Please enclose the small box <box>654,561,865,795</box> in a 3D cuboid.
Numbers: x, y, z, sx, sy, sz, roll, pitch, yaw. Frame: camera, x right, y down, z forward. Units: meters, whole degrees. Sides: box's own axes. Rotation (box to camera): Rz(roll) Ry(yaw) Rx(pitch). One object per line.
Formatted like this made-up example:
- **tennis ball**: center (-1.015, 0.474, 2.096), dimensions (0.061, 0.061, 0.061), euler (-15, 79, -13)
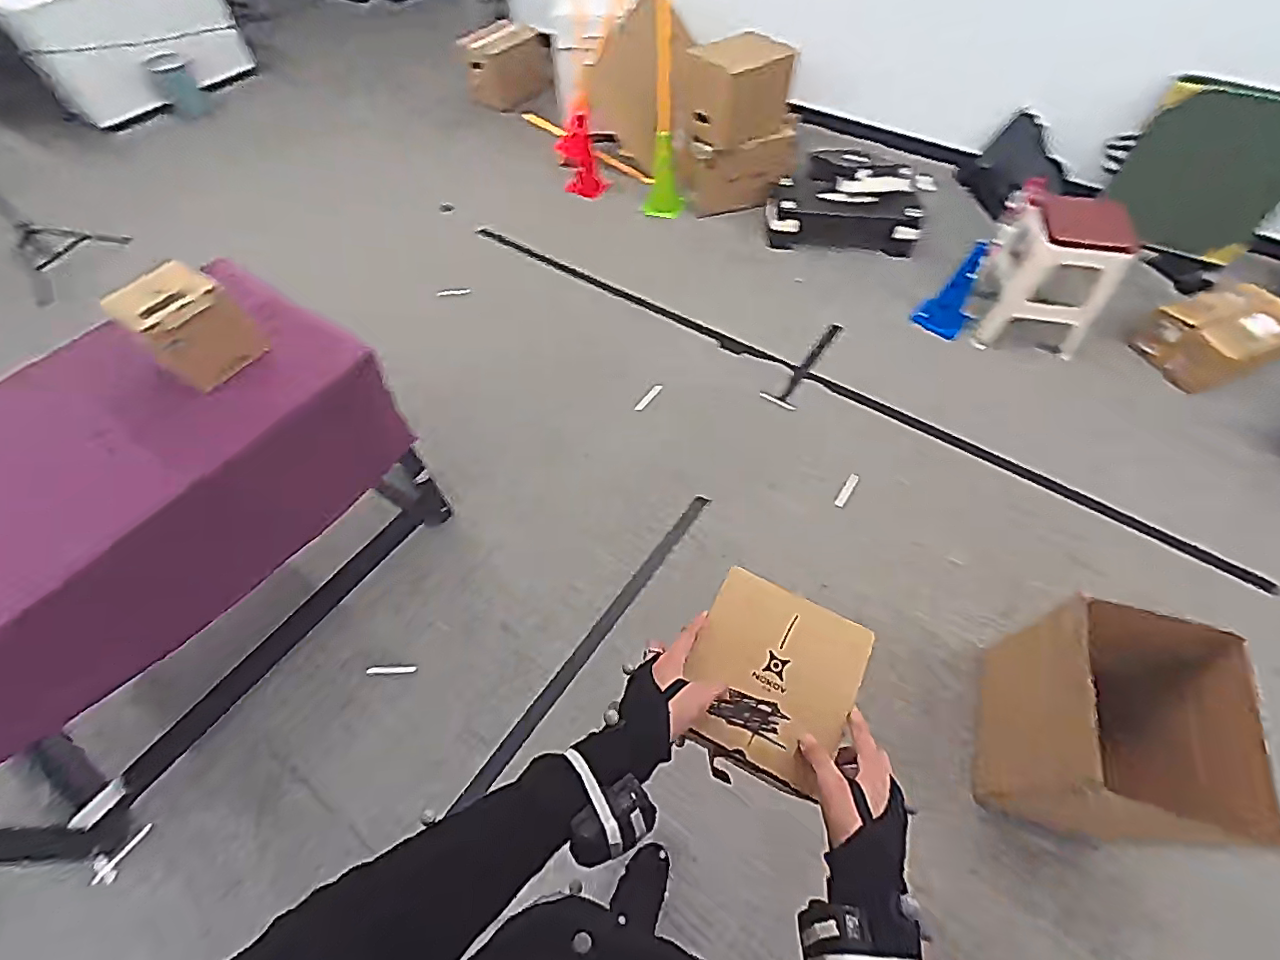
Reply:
- **small box**: center (0.126, 0.226, 0.616), dimensions (0.168, 0.176, 0.179), euler (24, 65, 12)
